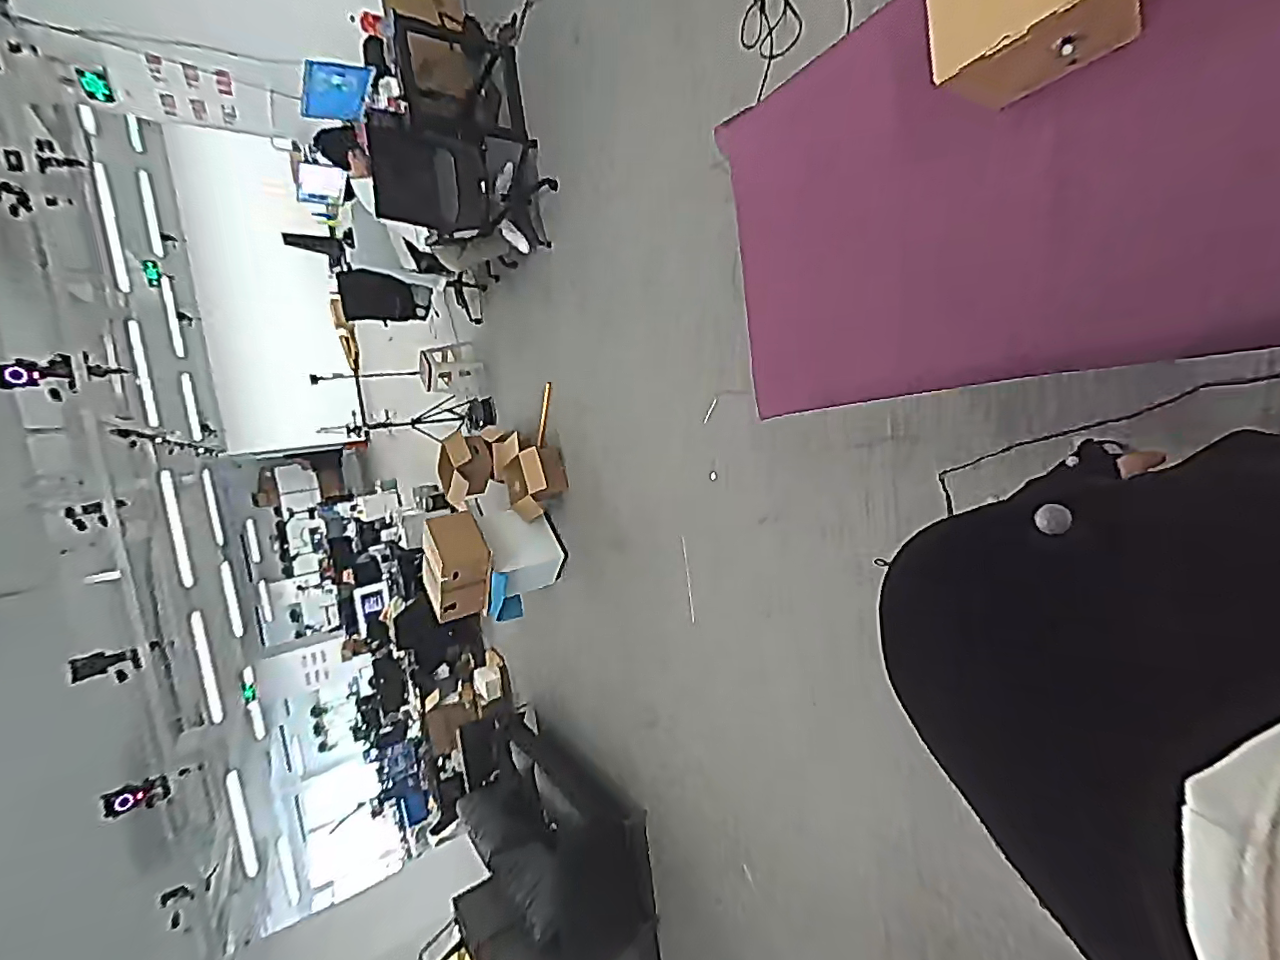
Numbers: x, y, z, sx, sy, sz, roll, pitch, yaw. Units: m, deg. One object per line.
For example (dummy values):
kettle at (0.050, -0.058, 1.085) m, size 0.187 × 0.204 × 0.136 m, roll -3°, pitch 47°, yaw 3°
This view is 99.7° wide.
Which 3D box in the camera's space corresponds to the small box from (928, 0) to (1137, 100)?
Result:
small box at (0.485, -0.611, 0.672) m, size 0.168 × 0.176 × 0.179 m, roll 0°, pitch 99°, yaw 57°
